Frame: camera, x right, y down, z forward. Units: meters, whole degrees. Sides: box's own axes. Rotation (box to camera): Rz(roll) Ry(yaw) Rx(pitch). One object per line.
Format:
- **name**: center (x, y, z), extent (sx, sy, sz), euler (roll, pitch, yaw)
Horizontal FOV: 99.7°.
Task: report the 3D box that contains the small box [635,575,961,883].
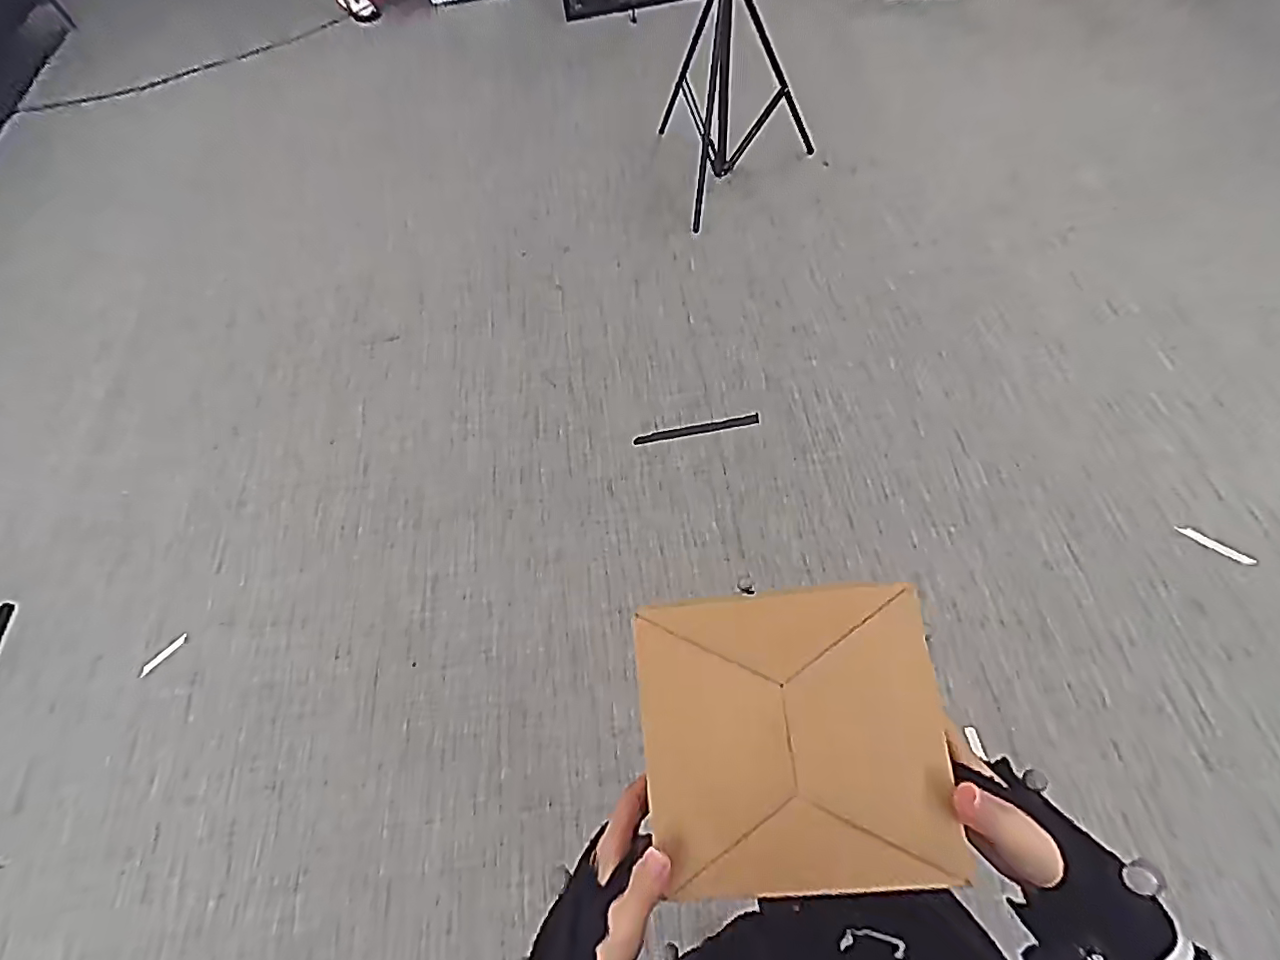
- **small box**: center (0.100, 0.162, 0.398), extent (0.179, 0.176, 0.168), euler (-7, 78, 5)
